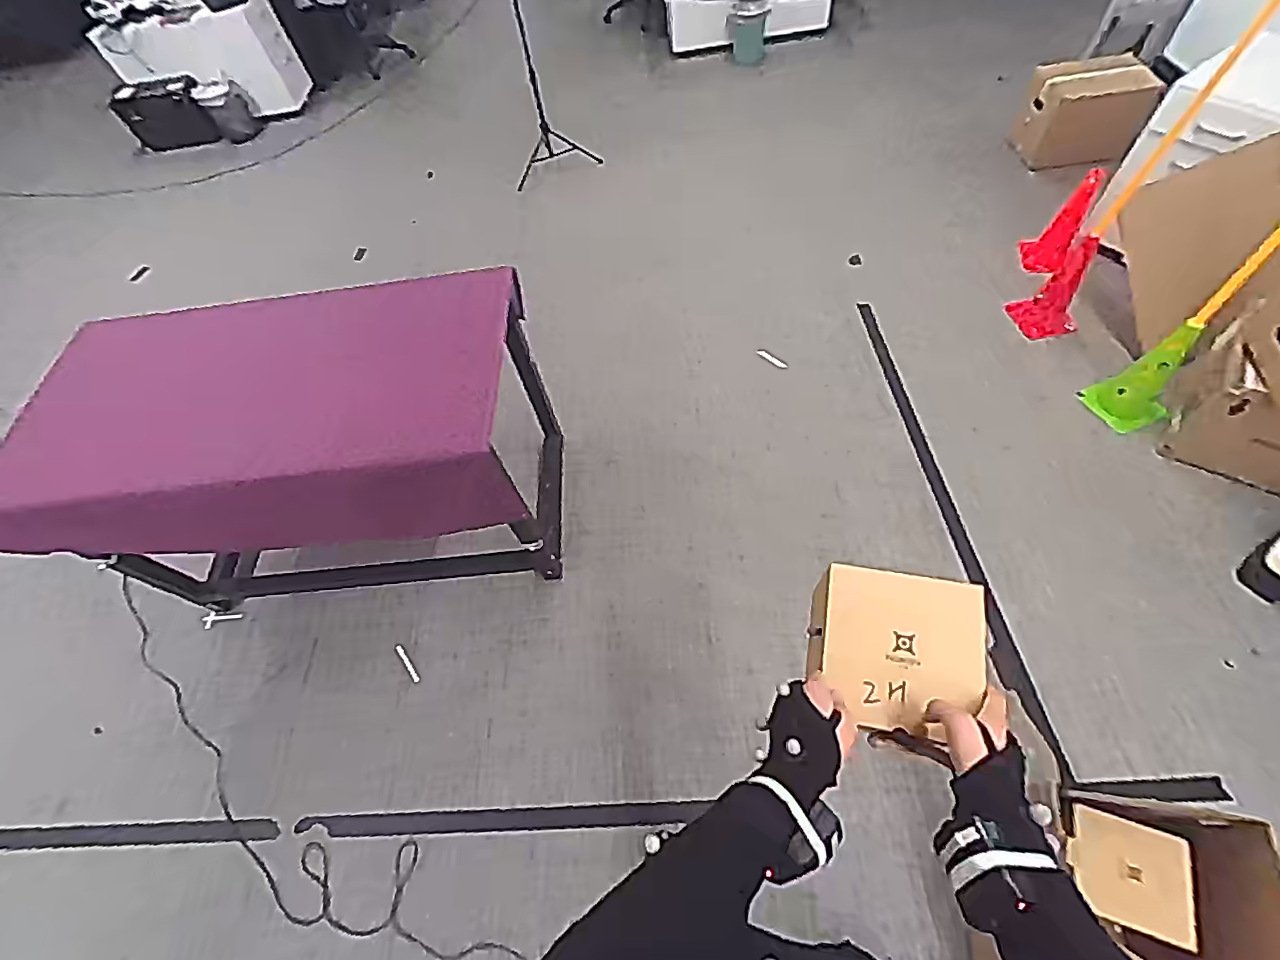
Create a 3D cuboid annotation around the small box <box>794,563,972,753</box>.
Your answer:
[{"bbox_3d":[0.286,0.219,0.666,0.168,0.176,0.179,7,68,14],"label":"small box"}]
